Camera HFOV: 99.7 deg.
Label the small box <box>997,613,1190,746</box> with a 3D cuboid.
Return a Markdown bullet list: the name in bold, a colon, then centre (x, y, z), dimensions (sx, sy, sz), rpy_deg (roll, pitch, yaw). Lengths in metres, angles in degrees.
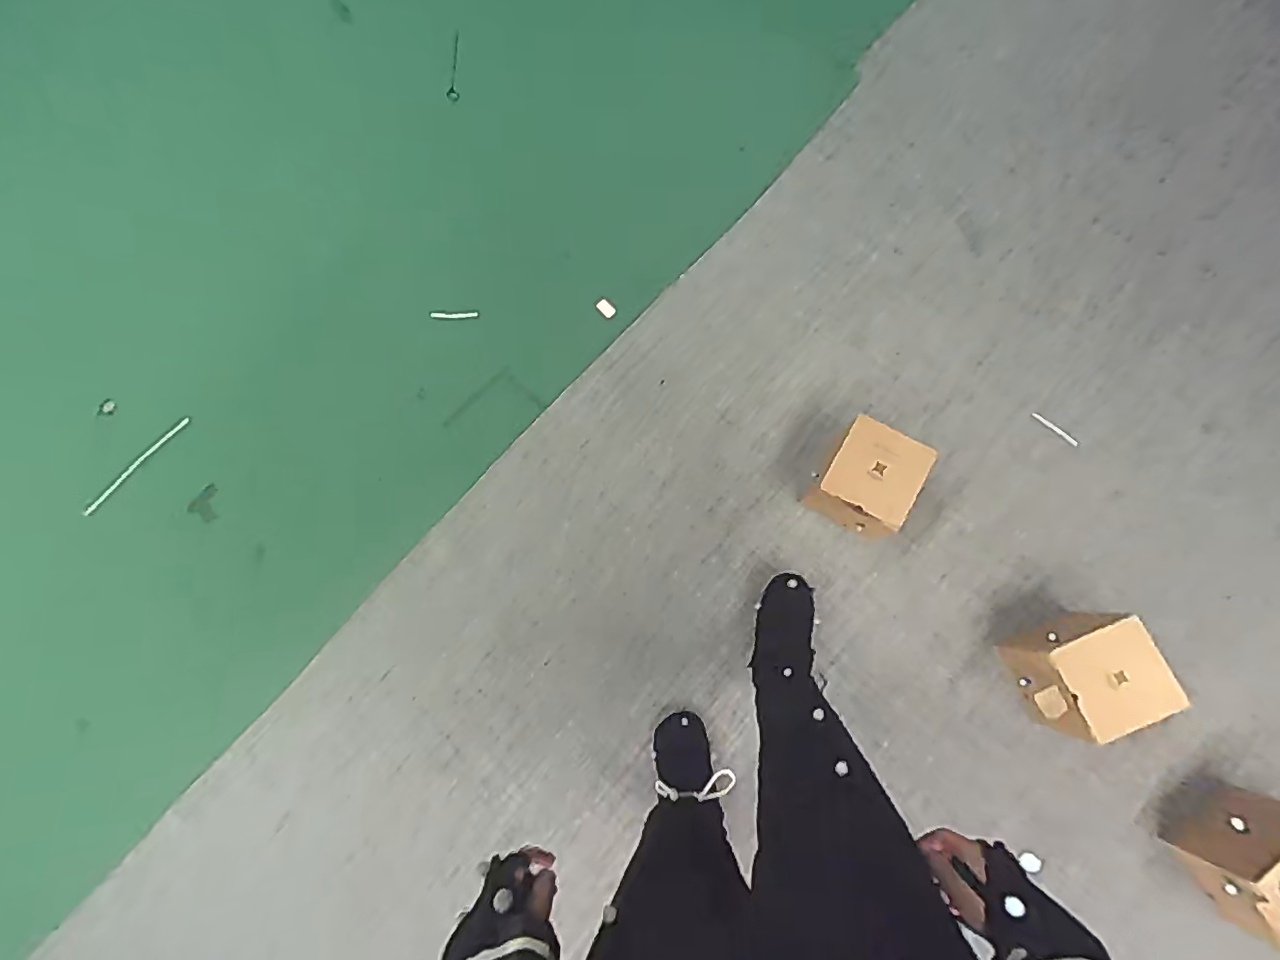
- **small box**: centre (0.815, 0.353, 0.994), dimensions (0.179, 0.176, 0.168), rpy_deg (-23, 78, -1)

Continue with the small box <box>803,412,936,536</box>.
- **small box**: centre (0.449, -0.002, 1.091), dimensions (0.168, 0.176, 0.179), rpy_deg (29, 80, 8)
